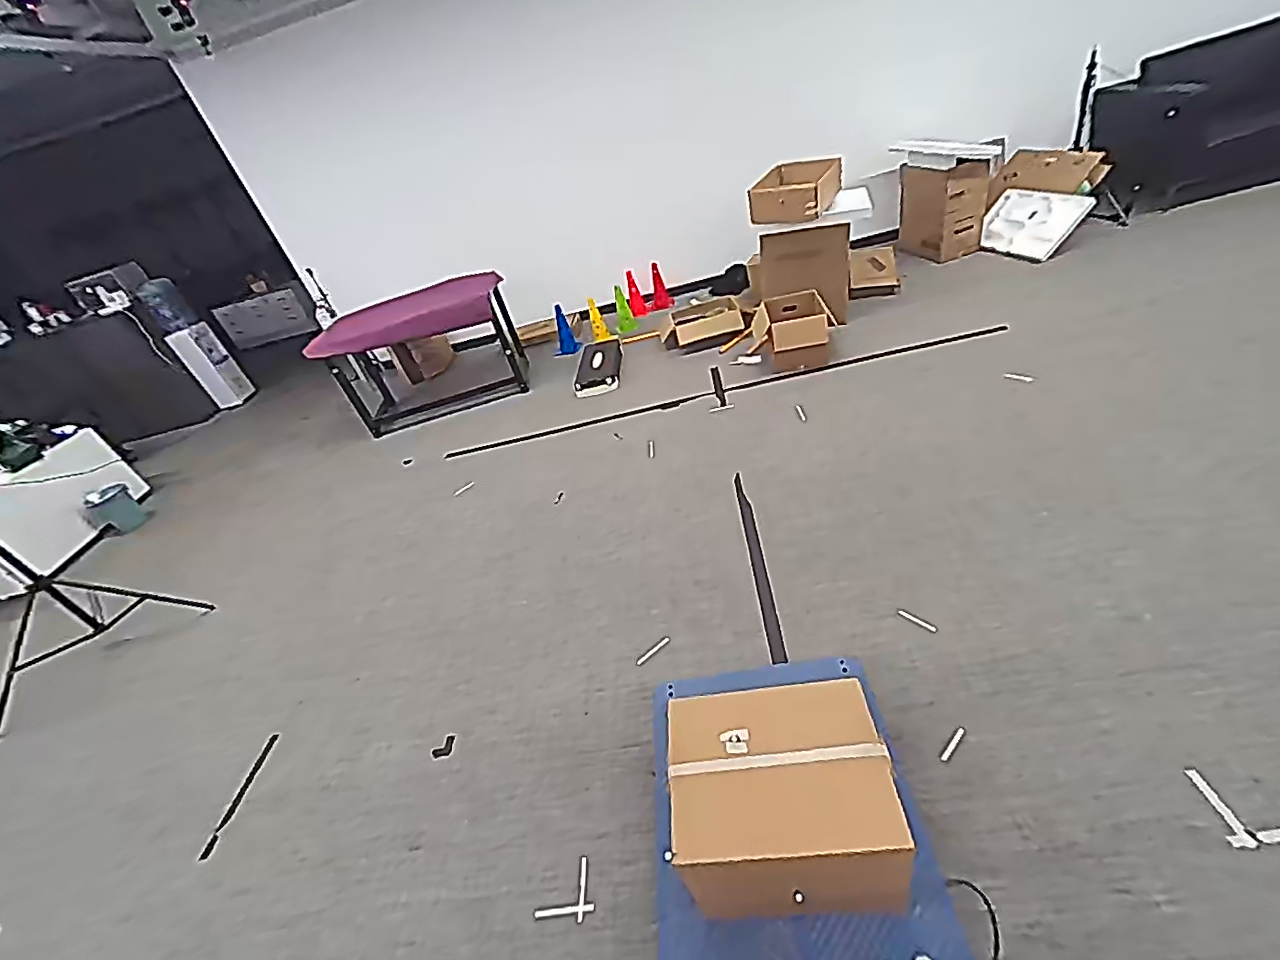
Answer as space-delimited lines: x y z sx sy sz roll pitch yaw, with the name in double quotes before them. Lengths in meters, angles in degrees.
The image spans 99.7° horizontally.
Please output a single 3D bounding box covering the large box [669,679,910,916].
"large box" 0.295 0.664 1.127 0.408 0.320 0.320 -12 35 10
